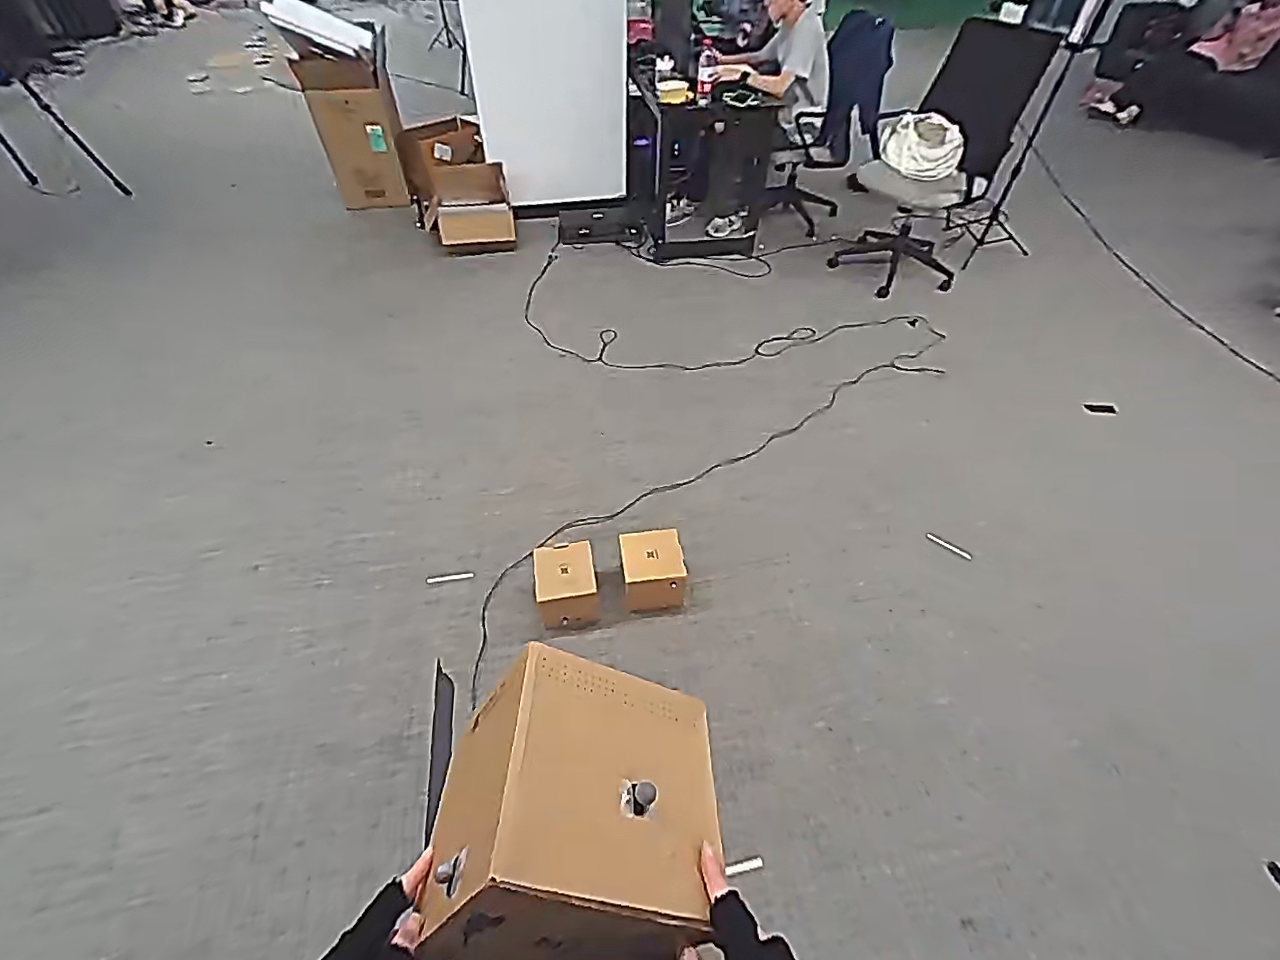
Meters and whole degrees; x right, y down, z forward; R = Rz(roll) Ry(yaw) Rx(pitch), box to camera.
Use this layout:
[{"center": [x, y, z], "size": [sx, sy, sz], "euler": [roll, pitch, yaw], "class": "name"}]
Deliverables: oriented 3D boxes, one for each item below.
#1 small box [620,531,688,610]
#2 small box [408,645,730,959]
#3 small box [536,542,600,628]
[{"center": [0.037, 0.273, 1.607], "size": [0.179, 0.176, 0.168], "euler": [-5, 49, -7], "class": "small box"}, {"center": [-0.054, 0.263, 0.442], "size": [0.179, 0.168, 0.176], "euler": [26, 31, -19], "class": "small box"}, {"center": [-0.209, 0.306, 1.571], "size": [0.168, 0.176, 0.179], "euler": [-7, 50, -6], "class": "small box"}]
